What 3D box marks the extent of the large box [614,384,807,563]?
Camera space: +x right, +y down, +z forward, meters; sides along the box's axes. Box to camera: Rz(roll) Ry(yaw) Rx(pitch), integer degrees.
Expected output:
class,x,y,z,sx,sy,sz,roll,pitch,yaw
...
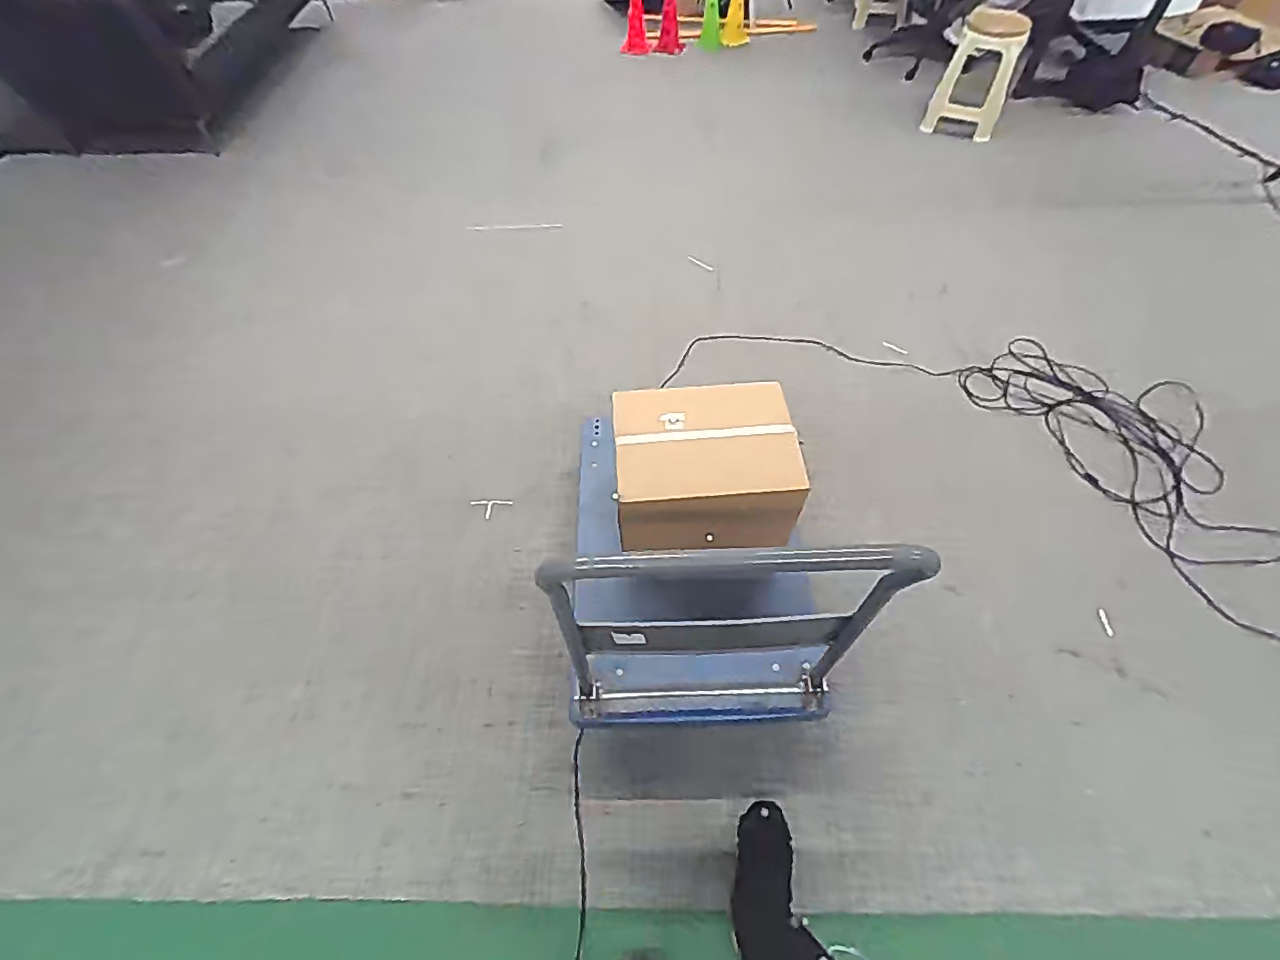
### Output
class,x,y,z,sx,sy,sz,roll,pitch,yaw
large box,0.152,-0.008,1.341,0.408,0.320,0.320,-4,55,0
